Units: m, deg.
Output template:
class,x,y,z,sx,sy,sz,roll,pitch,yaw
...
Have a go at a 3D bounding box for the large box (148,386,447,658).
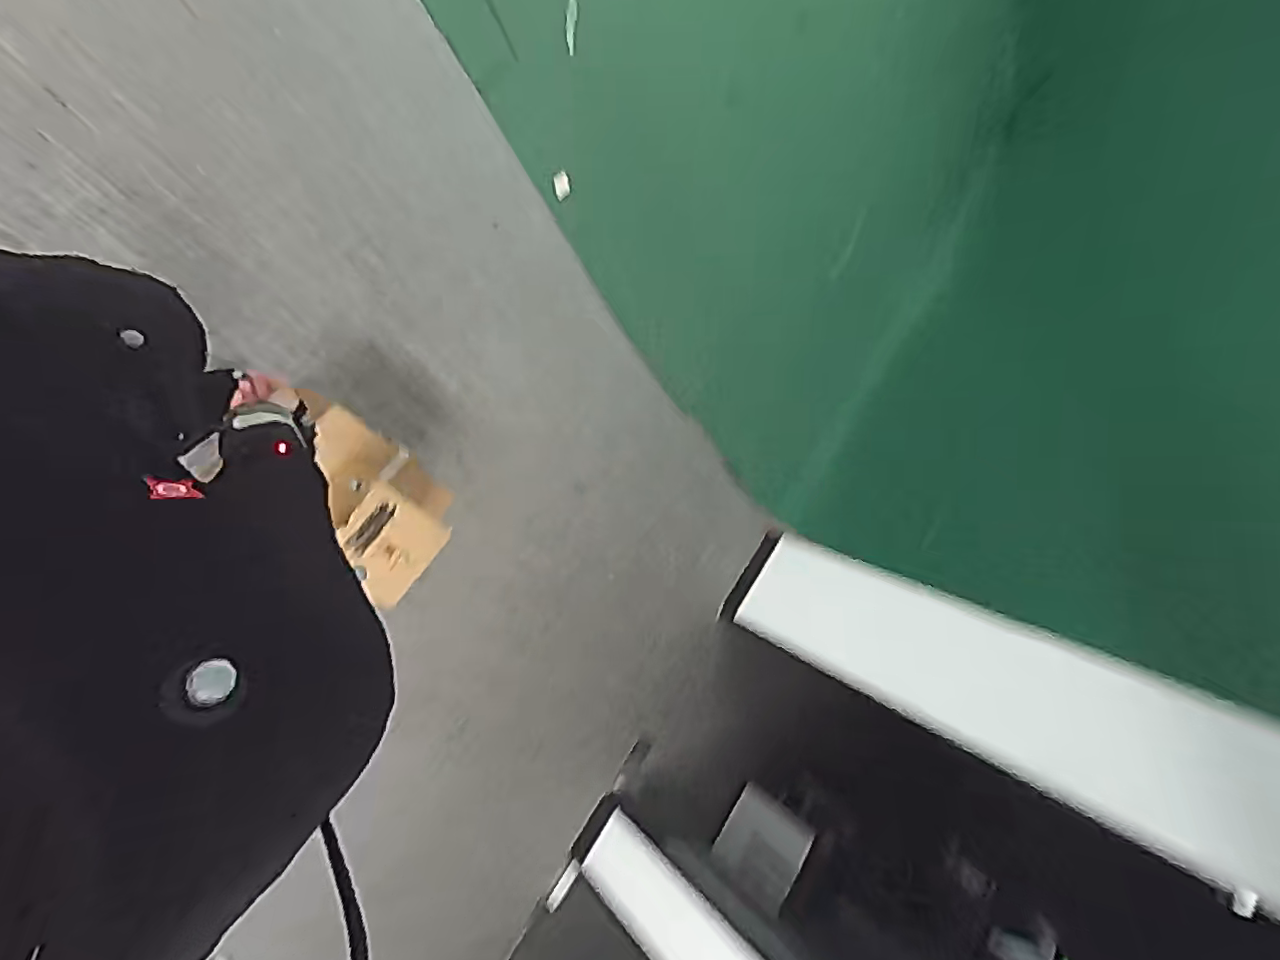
class,x,y,z,sx,sy,sz,roll,pitch,yaw
large box,-0.693,0.072,1.115,0.408,0.320,0.320,-53,134,-14
